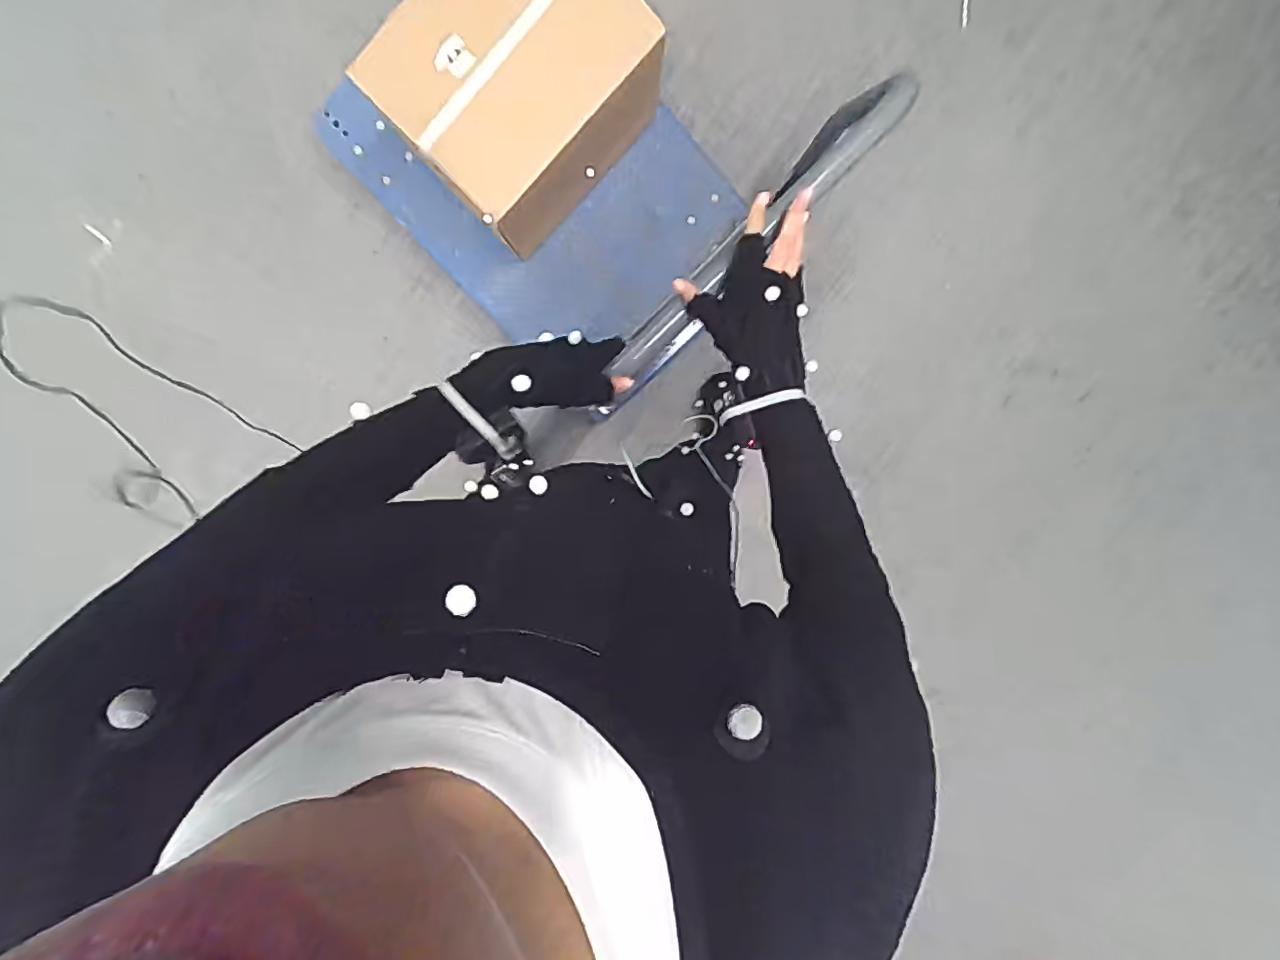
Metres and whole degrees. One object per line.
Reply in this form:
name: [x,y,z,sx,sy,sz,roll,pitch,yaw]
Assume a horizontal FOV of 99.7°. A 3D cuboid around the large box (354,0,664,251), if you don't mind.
large box: [-0.208,-0.705,0.986,0.320,0.320,0.408,44,97,-9]
